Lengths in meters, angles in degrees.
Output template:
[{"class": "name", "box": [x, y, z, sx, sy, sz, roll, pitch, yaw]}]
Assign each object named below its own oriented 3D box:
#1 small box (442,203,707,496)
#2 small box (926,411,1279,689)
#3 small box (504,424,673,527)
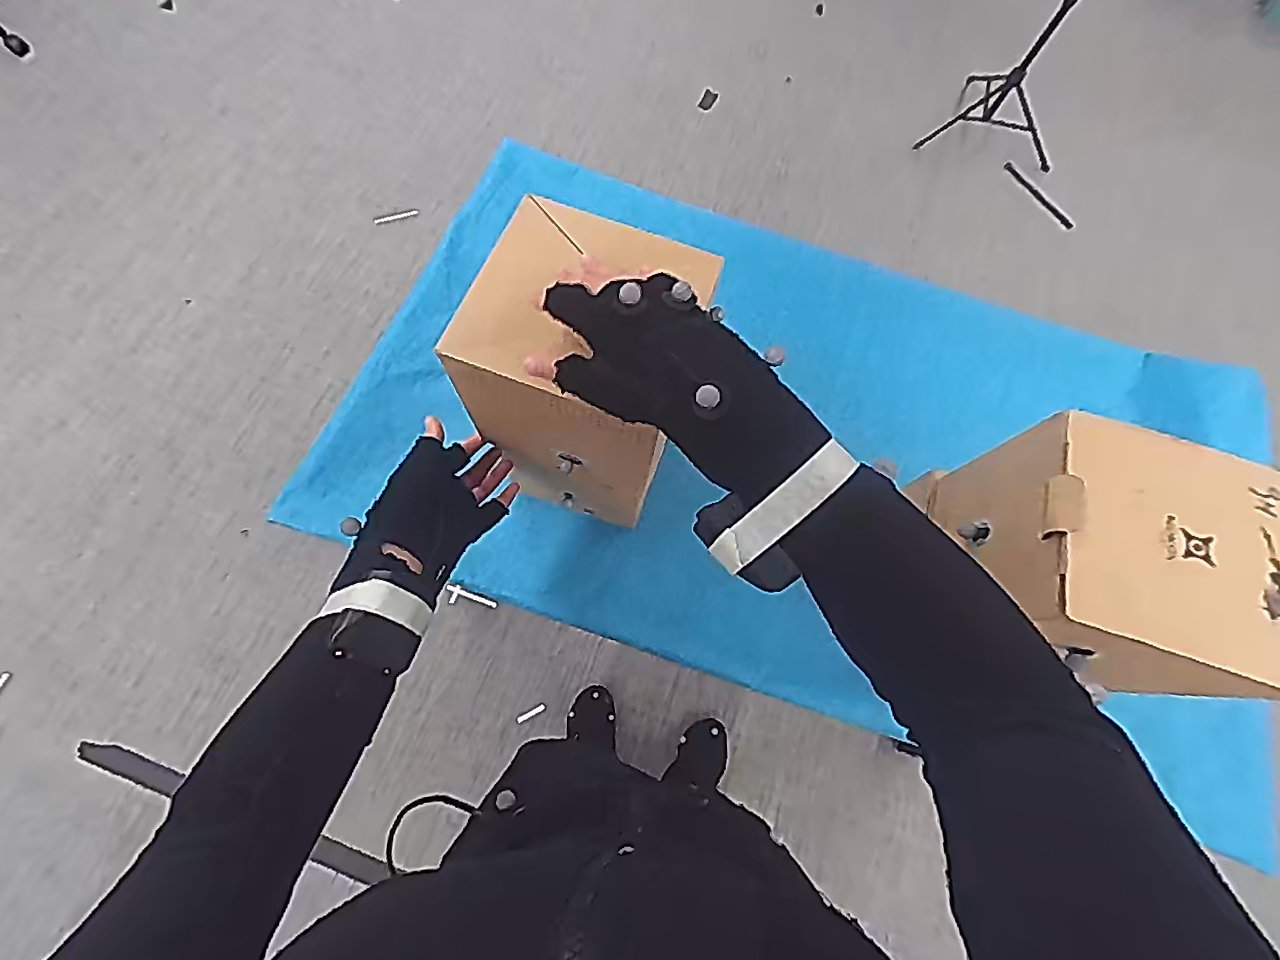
[{"class": "small box", "box": [-0.046, -0.108, 0.488, 0.179, 0.176, 0.168, 20, 71, 3]}, {"class": "small box", "box": [0.370, 0.069, 0.453, 0.179, 0.176, 0.168, 16, 71, 2]}, {"class": "small box", "box": [-0.054, -0.065, 0.650, 0.168, 0.176, 0.179, 21, 73, 5]}]
